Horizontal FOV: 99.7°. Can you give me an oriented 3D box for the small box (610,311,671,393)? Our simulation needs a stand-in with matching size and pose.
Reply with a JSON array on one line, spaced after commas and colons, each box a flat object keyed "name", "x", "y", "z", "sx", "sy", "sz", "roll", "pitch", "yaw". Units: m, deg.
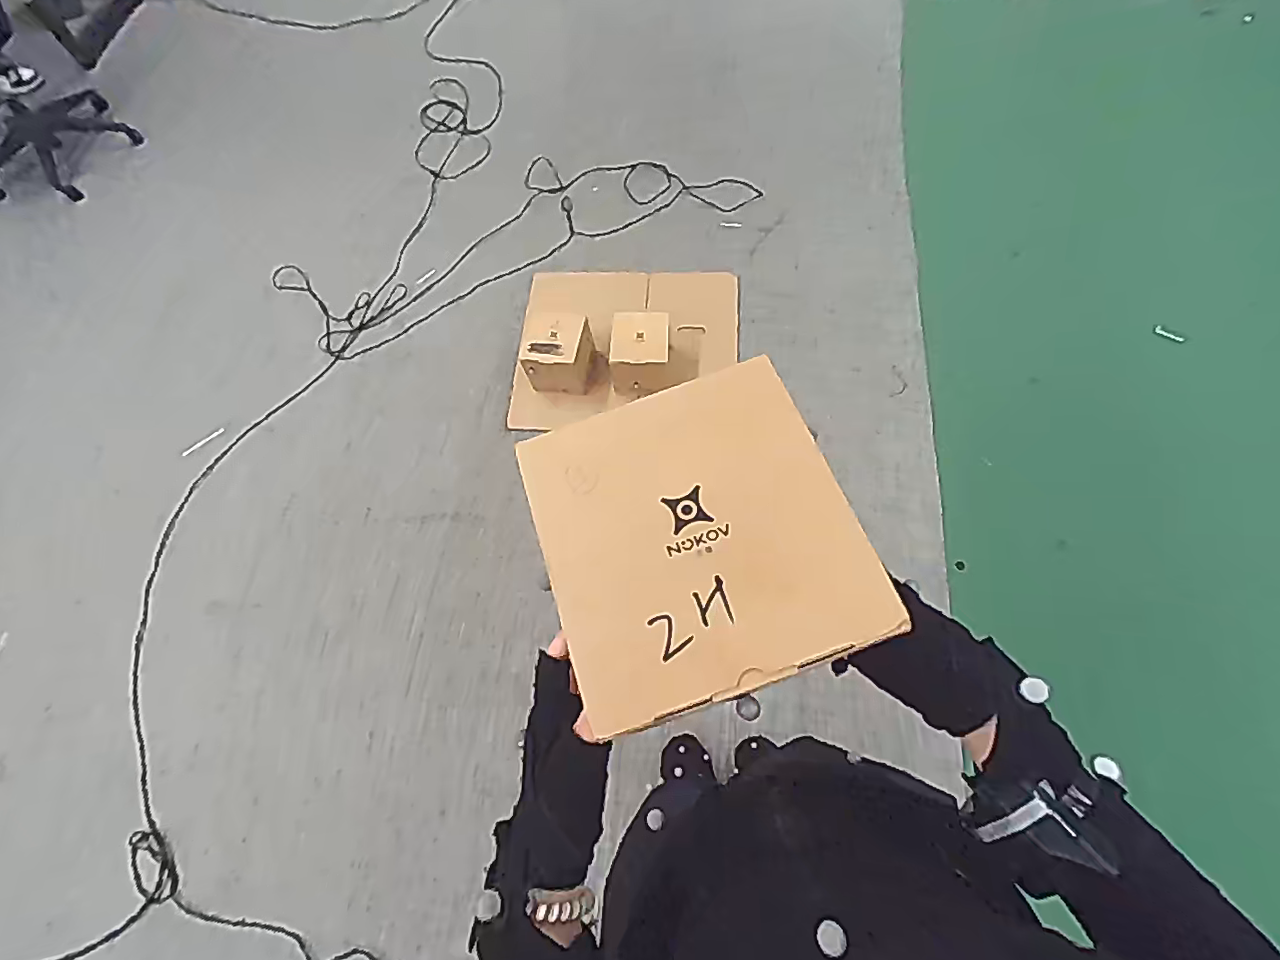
[{"name": "small box", "x": 0.005, "y": -0.377, "z": 1.602, "sx": 0.168, "sy": 0.176, "sz": 0.179, "roll": 1, "pitch": 68, "yaw": 5}]

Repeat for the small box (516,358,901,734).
[{"name": "small box", "x": 0.035, "y": 0.055, "z": 0.370, "sx": 0.168, "sy": 0.176, "sz": 0.179, "roll": -21, "pitch": 67, "yaw": 0}]
